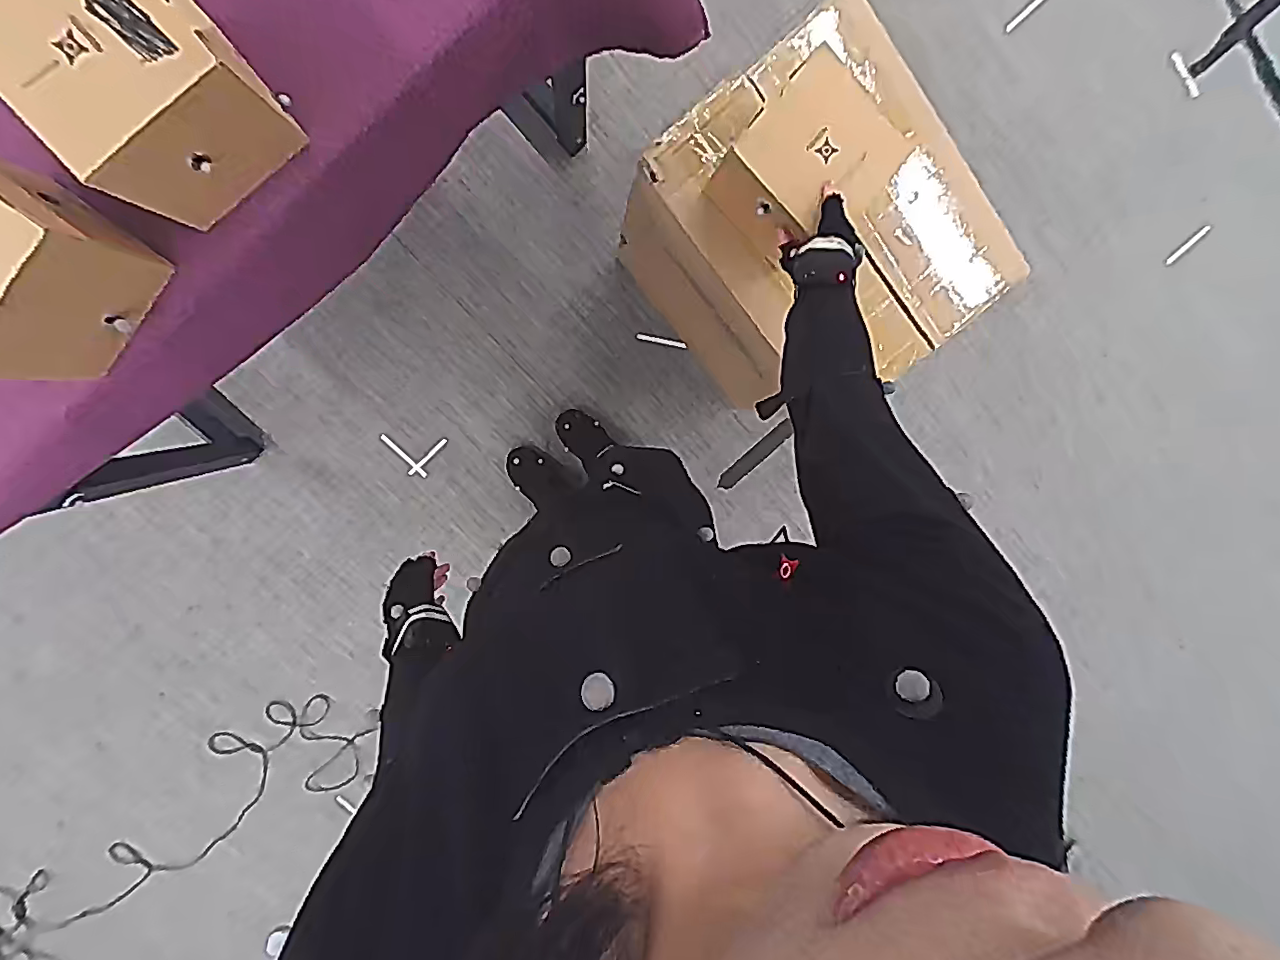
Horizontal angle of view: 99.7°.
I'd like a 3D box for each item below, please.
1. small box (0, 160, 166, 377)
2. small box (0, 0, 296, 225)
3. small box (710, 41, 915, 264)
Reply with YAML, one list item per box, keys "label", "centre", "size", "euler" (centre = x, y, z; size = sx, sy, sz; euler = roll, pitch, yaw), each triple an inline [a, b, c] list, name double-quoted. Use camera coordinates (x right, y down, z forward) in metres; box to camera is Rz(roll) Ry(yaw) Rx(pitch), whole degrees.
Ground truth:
- label: "small box"
  centre: [-0.672, -0.229, 0.577]
  size: [0.168, 0.176, 0.179]
  euler: [36, 93, -10]
- label: "small box"
  centre: [-0.504, -0.406, 0.564]
  size: [0.179, 0.176, 0.168]
  euler: [-39, 100, 2]
- label: "small box"
  centre: [0.220, -0.425, 0.742]
  size: [0.179, 0.176, 0.168]
  euler: [41, 96, -12]
